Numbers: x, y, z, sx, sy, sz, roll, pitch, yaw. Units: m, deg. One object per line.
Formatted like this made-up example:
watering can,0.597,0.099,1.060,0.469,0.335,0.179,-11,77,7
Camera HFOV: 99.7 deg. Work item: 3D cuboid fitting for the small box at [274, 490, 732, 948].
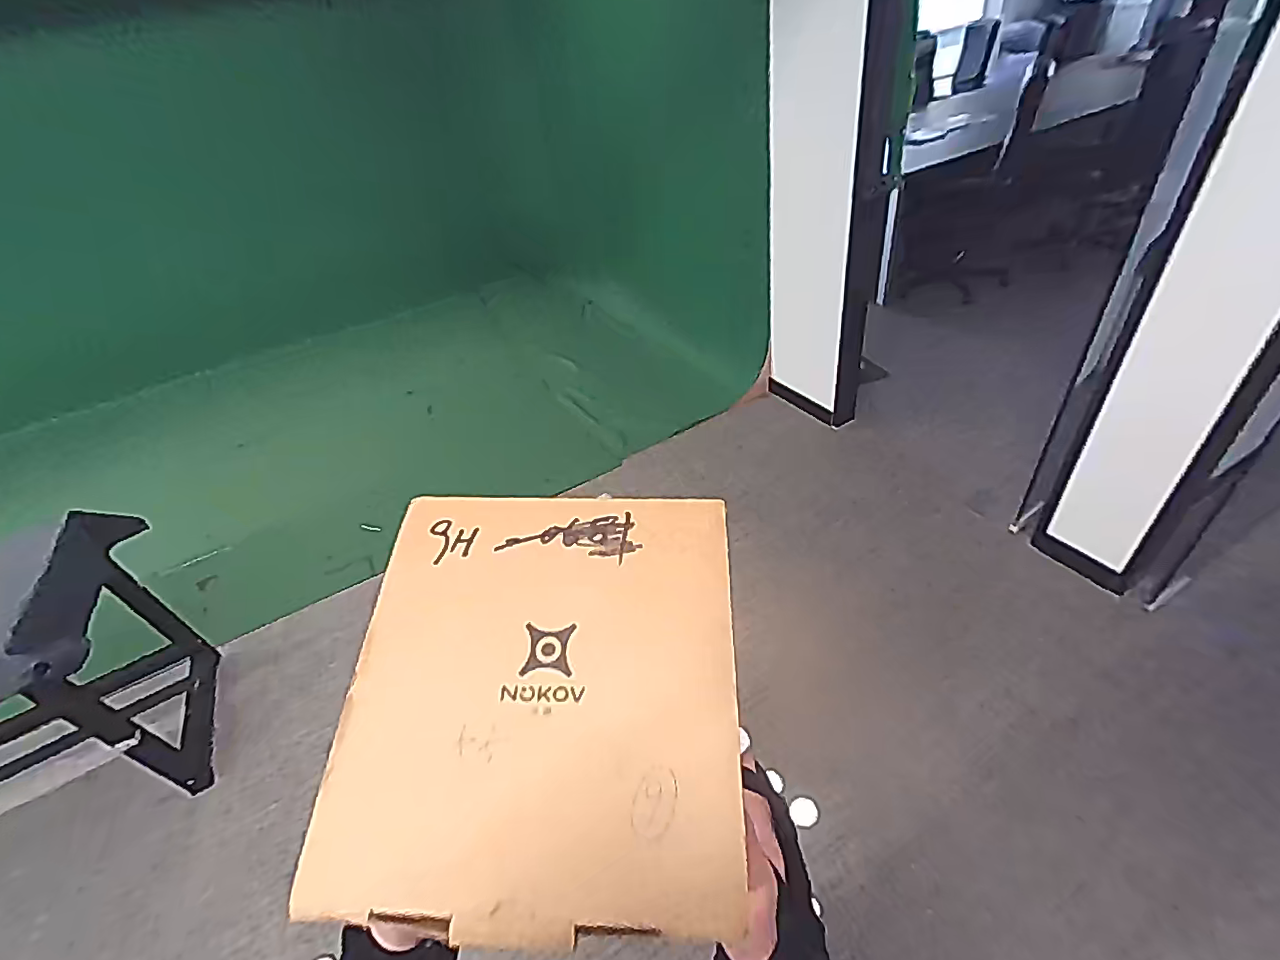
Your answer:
small box,-0.043,0.123,0.297,0.168,0.176,0.179,1,58,1
